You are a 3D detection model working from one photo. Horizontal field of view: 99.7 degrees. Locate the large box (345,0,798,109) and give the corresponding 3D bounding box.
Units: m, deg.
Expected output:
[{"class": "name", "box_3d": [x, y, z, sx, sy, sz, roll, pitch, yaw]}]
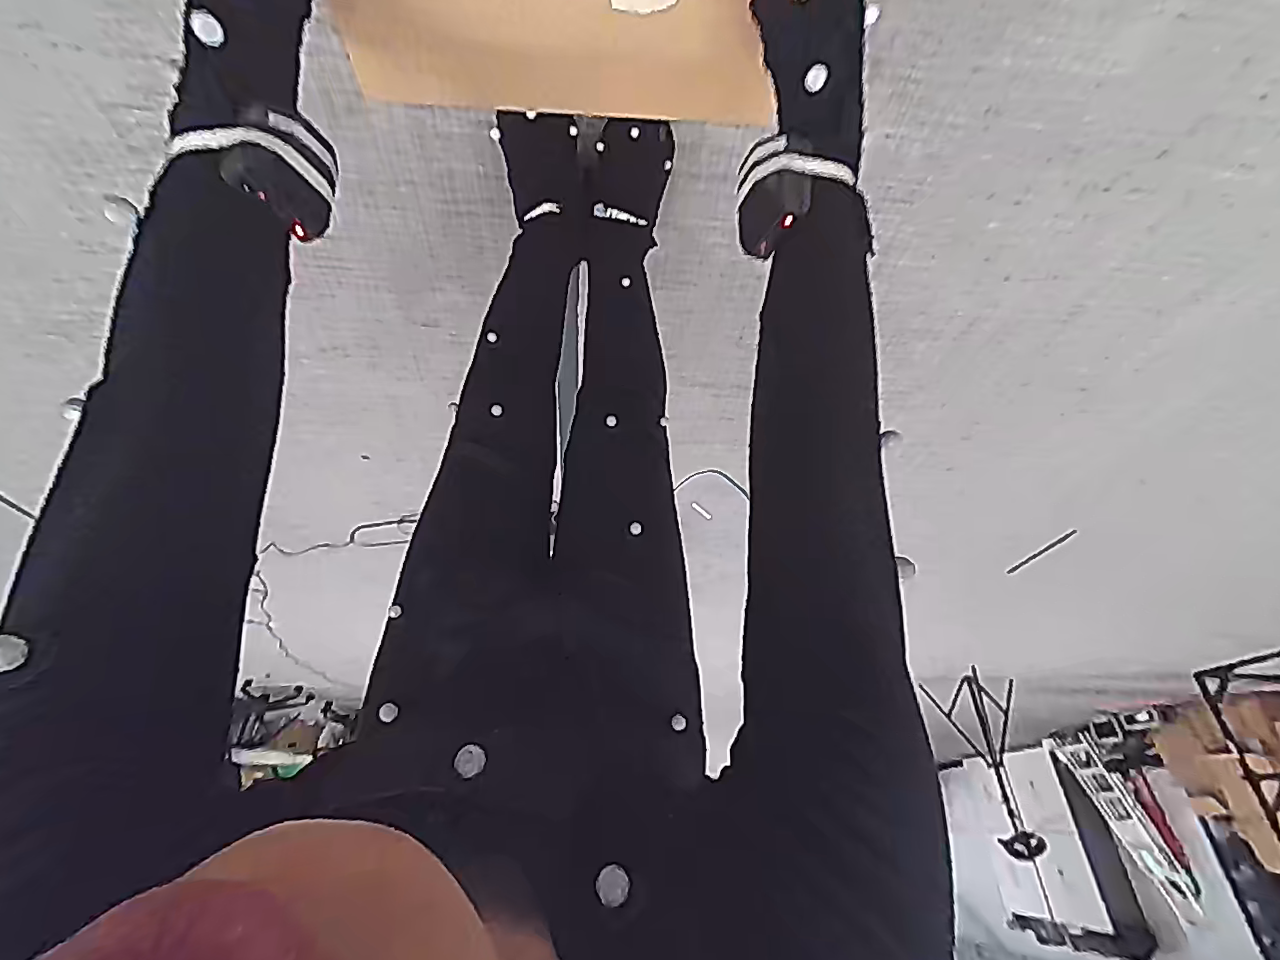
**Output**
[{"class": "large box", "box_3d": [-0.060, -0.583, 0.491, 0.408, 0.320, 0.320, 0, 148, -4]}]
